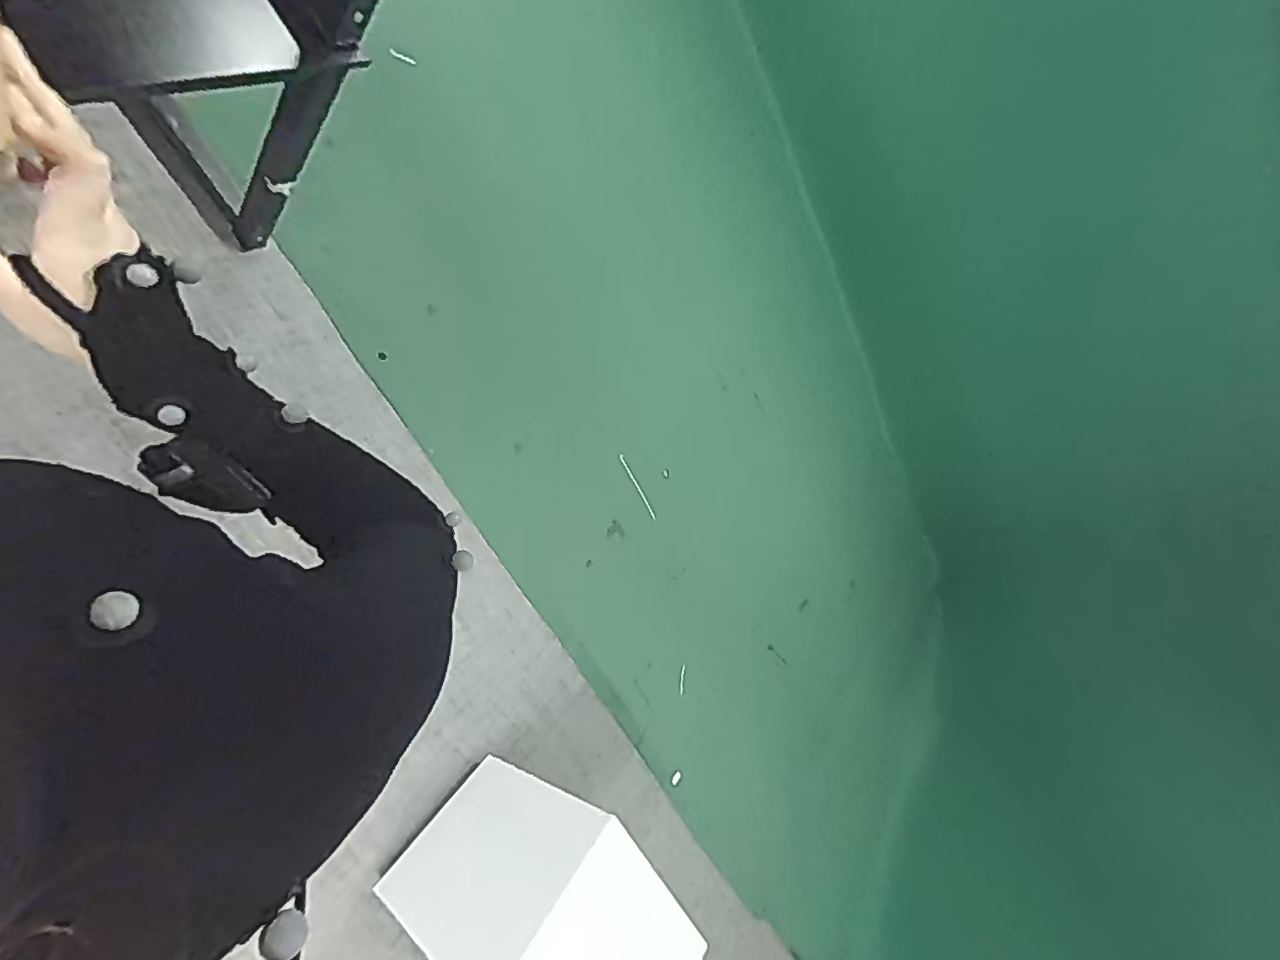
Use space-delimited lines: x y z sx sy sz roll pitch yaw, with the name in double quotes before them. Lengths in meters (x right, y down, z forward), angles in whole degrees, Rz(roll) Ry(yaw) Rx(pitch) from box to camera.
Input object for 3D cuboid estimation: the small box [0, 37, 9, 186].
"small box" -0.332 -0.213 0.169 0.168 0.176 0.179 -6 110 -47
